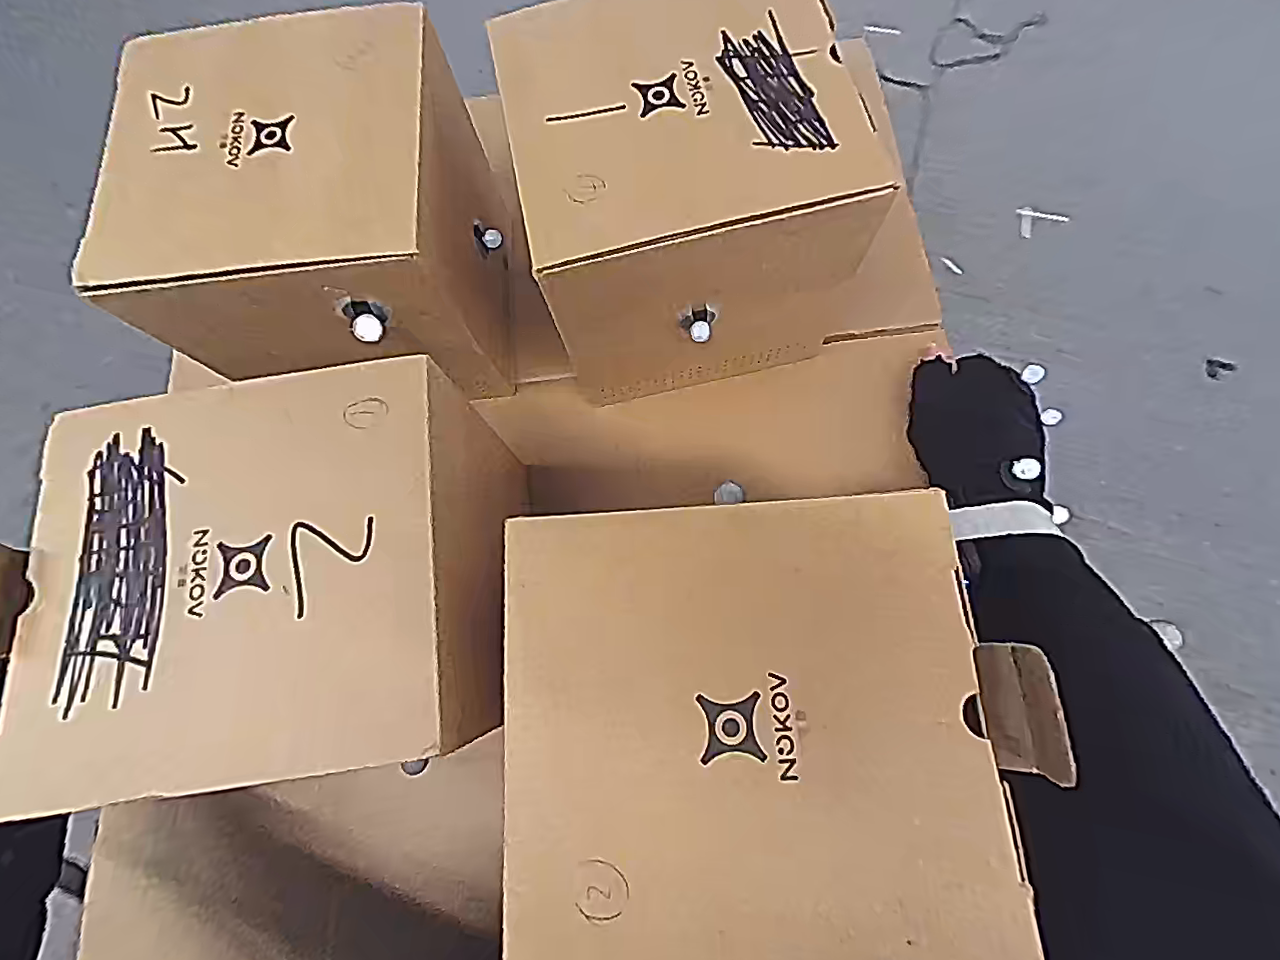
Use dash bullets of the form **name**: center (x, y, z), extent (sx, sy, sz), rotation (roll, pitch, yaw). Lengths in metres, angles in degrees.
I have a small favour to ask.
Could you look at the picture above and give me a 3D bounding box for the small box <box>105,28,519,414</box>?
- **small box**: center (-0.189, -0.155, 0.372), extent (0.179, 0.176, 0.168), rotation (-4, 74, 4)
